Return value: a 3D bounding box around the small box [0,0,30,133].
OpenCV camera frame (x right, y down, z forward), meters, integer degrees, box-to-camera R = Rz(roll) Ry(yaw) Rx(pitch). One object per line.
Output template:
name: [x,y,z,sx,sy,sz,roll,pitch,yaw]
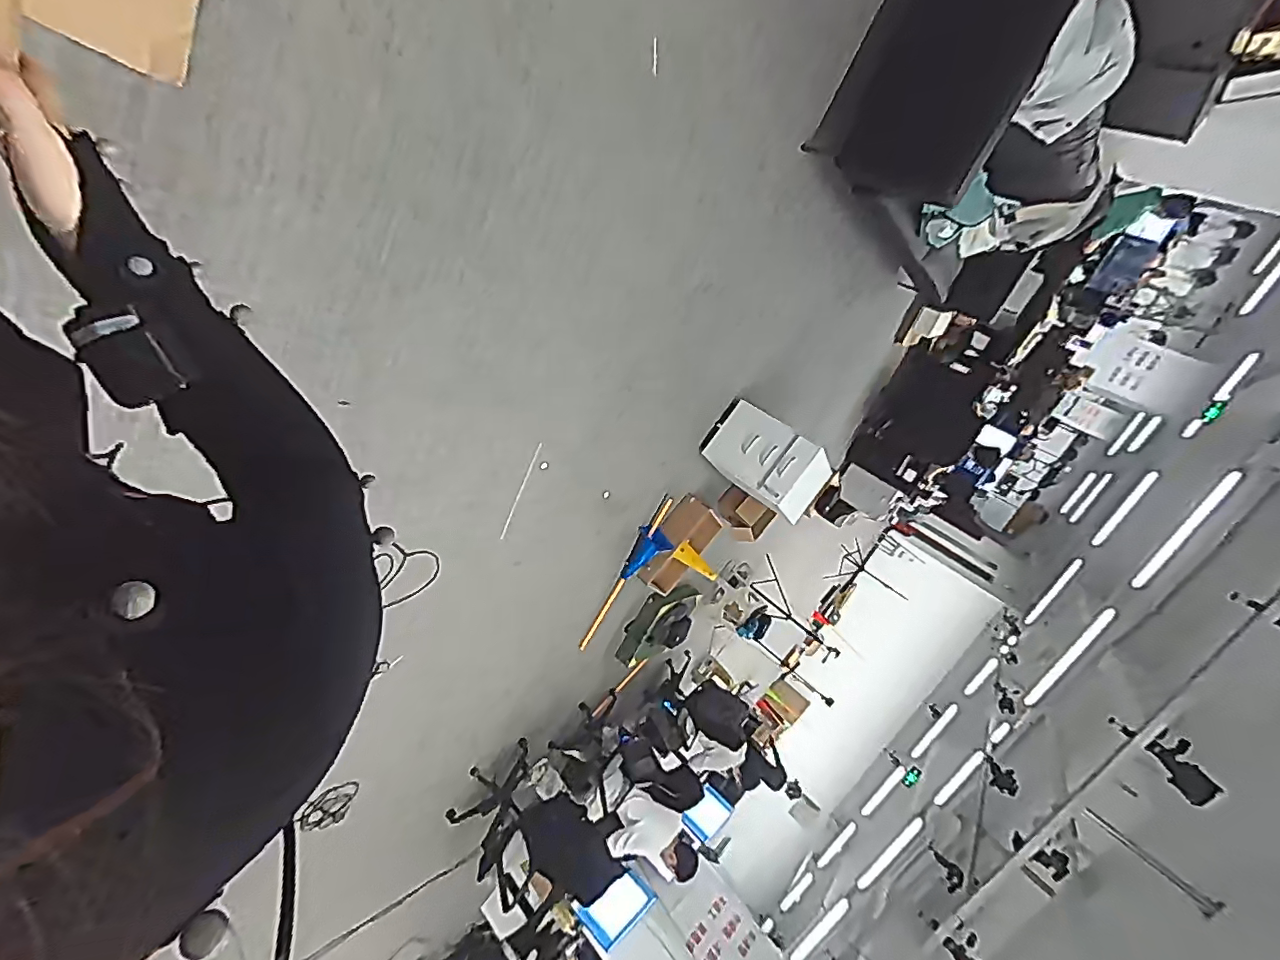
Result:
small box: [-0.465,-0.320,0.292,0.168,0.176,0.179,0,103,-54]
